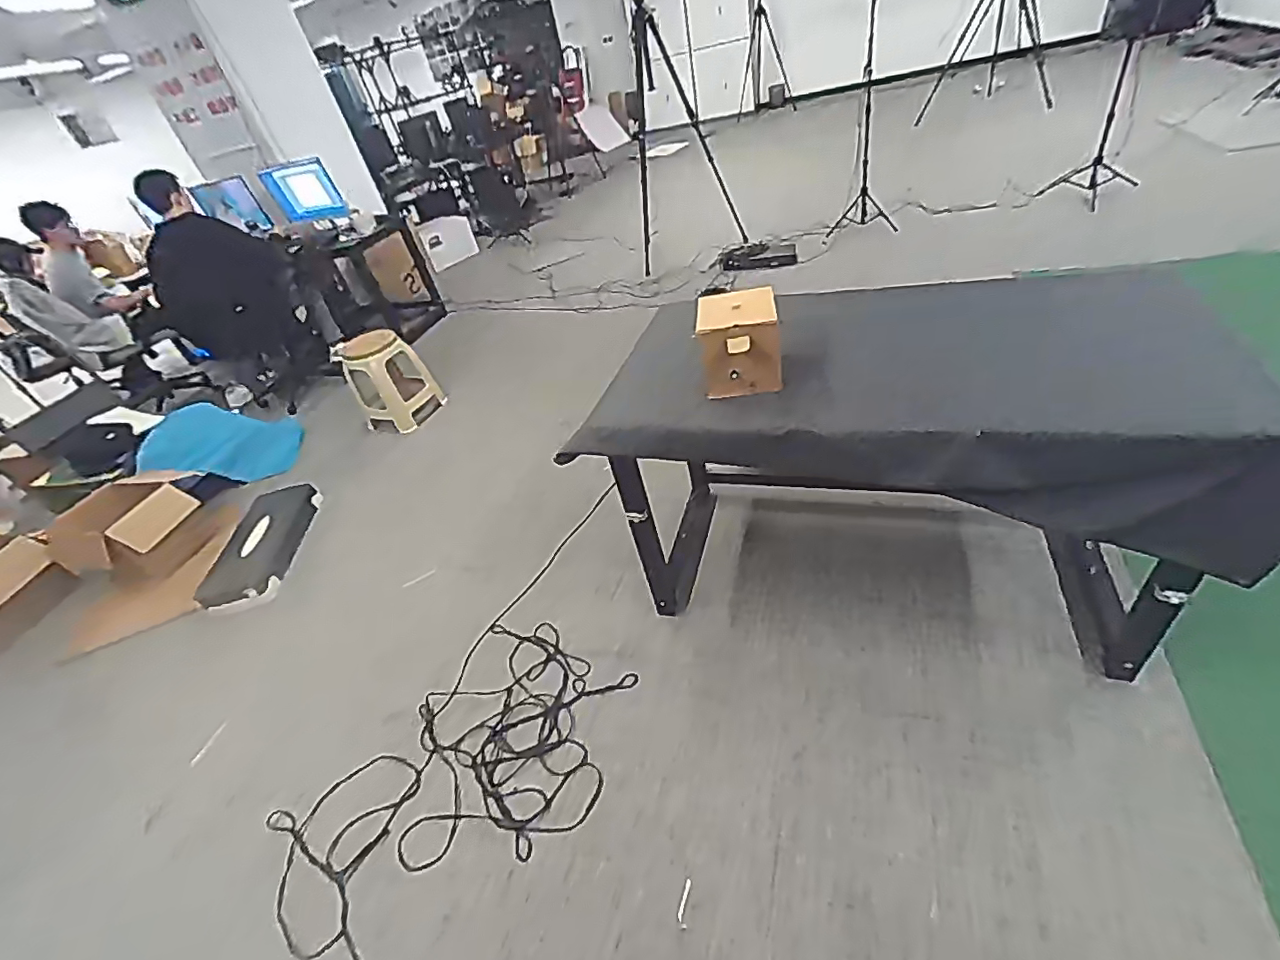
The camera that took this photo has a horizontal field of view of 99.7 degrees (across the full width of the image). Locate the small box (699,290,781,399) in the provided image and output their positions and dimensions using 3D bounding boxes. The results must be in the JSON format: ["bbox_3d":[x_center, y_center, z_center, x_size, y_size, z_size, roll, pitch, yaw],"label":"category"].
[{"bbox_3d":[0.223,-0.299,1.201,0.168,0.176,0.179,-5,40,12],"label":"small box"}]
